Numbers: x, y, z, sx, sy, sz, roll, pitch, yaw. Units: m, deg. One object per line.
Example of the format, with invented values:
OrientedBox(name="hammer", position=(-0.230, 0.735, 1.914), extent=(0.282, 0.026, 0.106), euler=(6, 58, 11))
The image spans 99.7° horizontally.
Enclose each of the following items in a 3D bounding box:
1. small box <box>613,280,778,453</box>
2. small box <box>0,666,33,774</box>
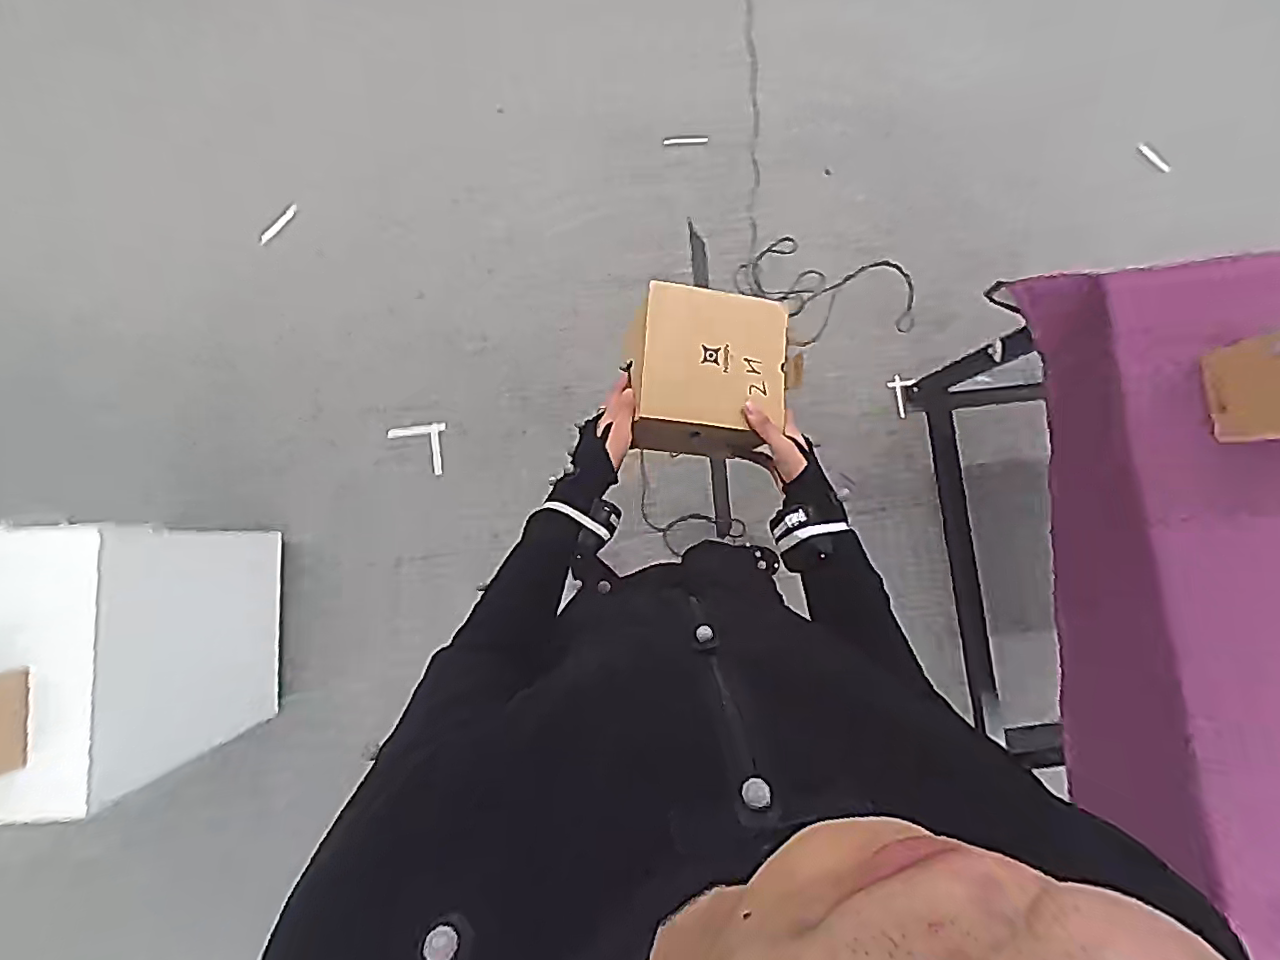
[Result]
OrientedBox(name="small box", position=(0.062, -0.134, 0.705), extent=(0.179, 0.176, 0.168), euler=(5, 82, -11))
OrientedBox(name="small box", position=(-1.173, 0.421, 0.891), extent=(0.168, 0.176, 0.179), euler=(-4, 84, -3))
